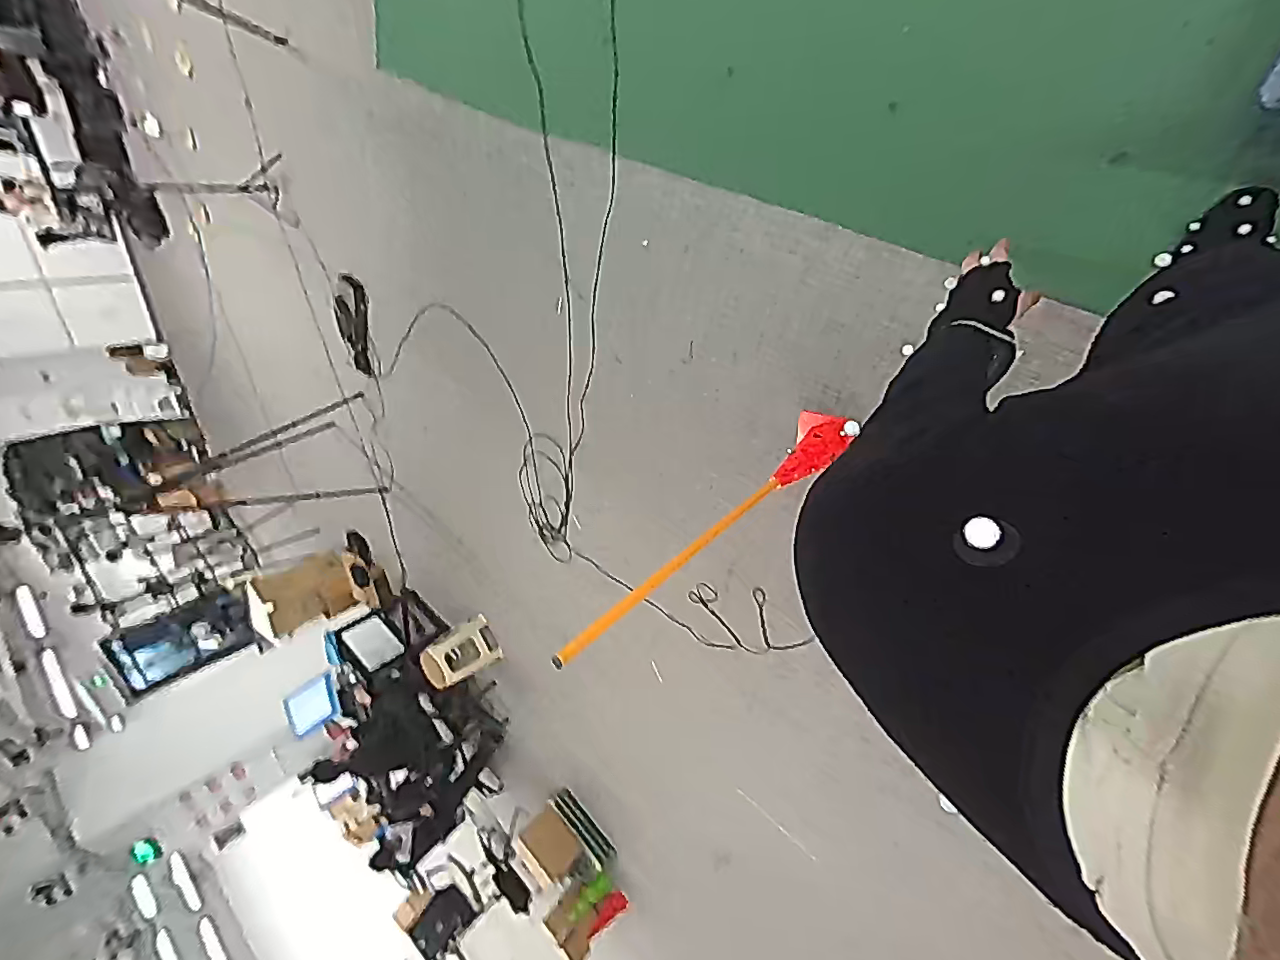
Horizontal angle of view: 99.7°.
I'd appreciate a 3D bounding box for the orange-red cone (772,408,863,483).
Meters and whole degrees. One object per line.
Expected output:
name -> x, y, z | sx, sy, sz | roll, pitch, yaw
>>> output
orange-red cone -> 0.499, -0.066, 1.638 | 0.199, 0.360, 0.198 | 22, 124, 36
